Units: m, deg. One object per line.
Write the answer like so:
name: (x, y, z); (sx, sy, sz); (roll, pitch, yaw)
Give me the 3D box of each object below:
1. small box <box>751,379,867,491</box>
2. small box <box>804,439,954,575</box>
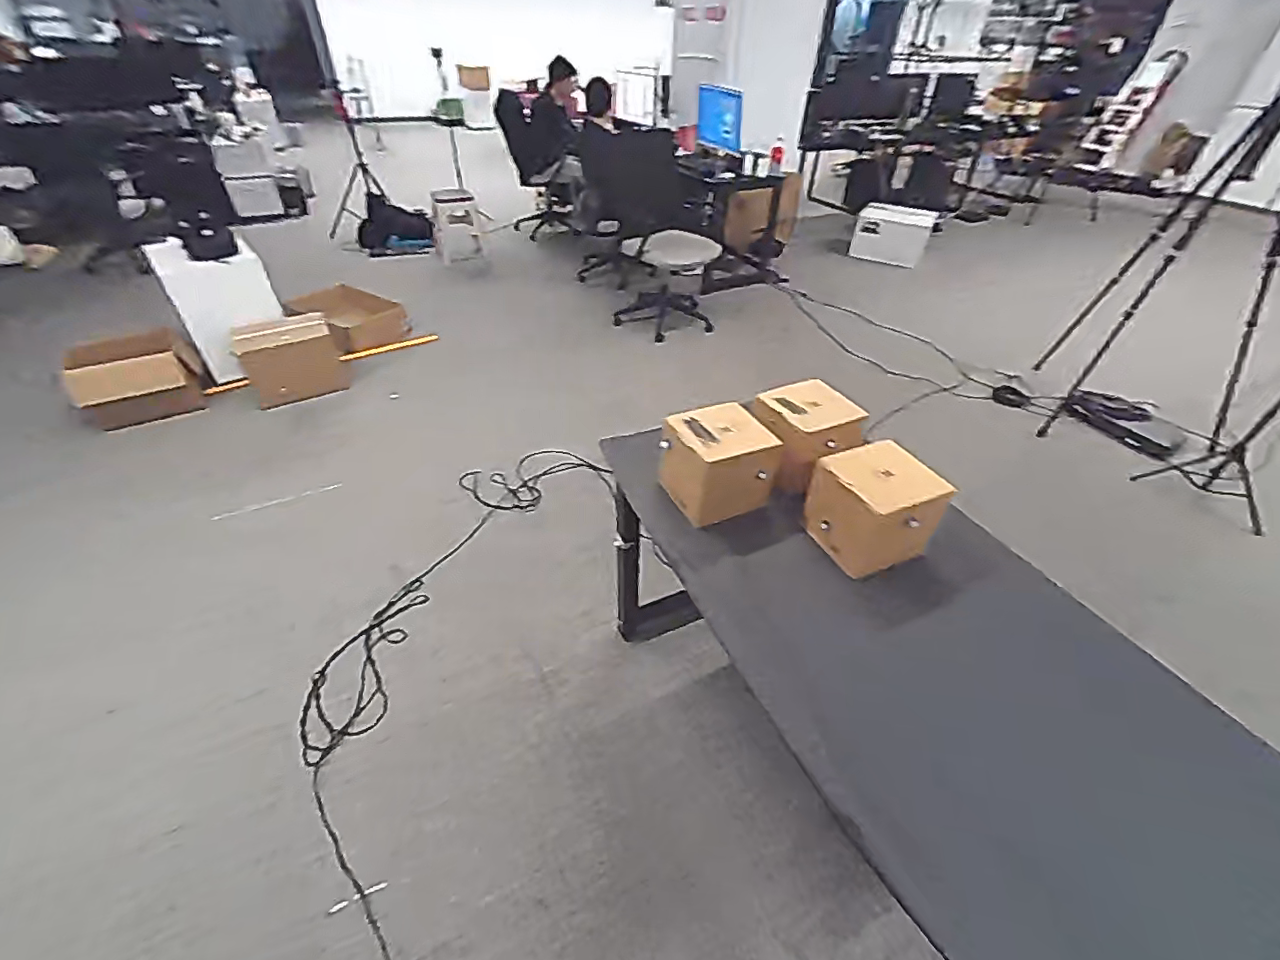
small box: (0.362, -0.098, 1.197); (0.179, 0.176, 0.168); (-17, 44, -21)
small box: (0.441, 0.051, 1.027); (0.179, 0.176, 0.168); (-16, 43, -18)
